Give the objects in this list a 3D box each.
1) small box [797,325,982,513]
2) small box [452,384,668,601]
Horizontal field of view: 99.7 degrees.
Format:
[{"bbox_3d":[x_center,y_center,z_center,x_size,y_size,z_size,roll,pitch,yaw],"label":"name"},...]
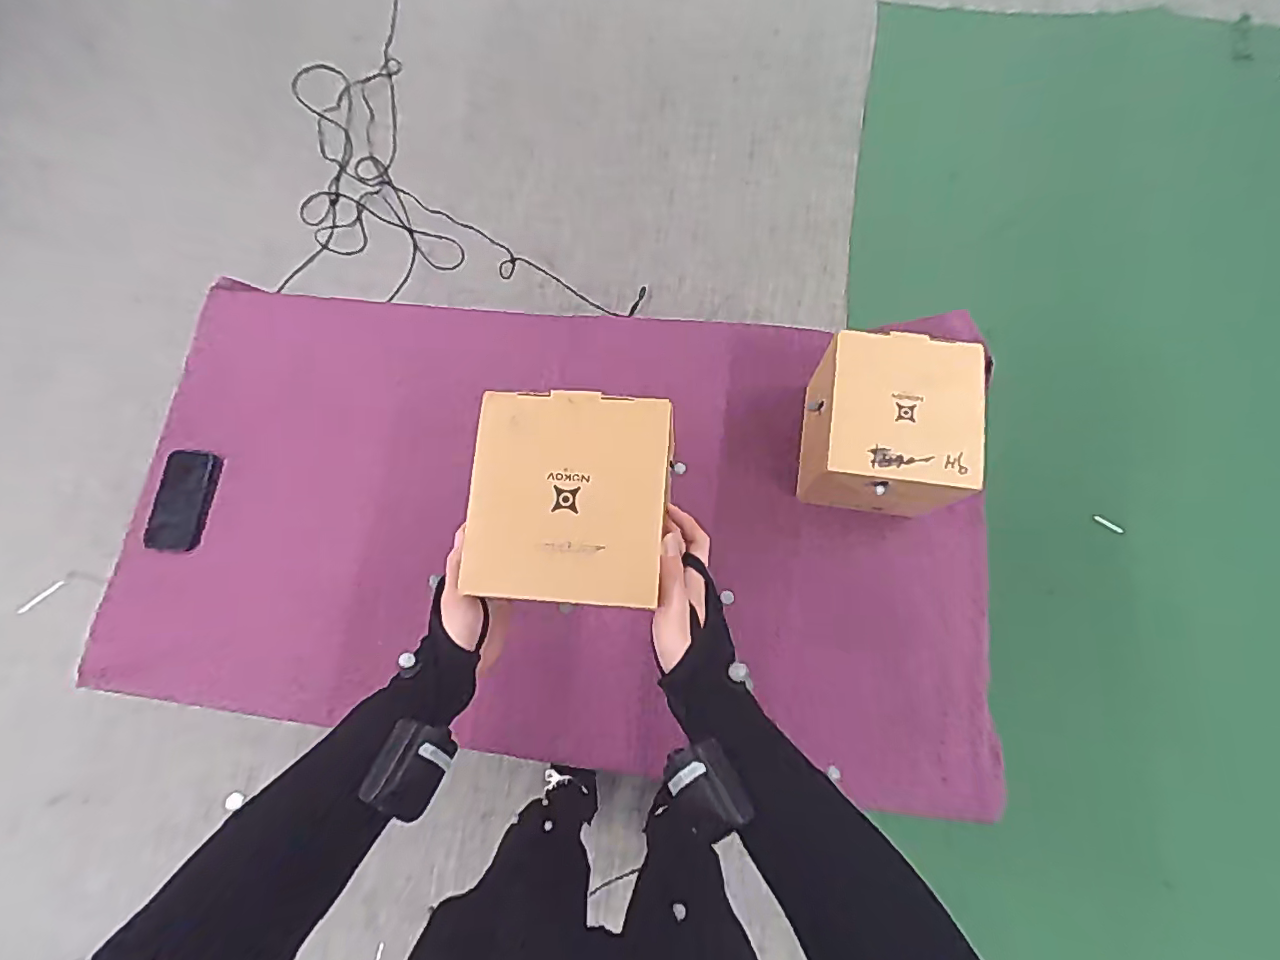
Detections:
[{"bbox_3d":[0.299,-0.068,0.678,0.168,0.176,0.179,7,76,7],"label":"small box"},{"bbox_3d":[-0.061,0.020,0.528,0.168,0.176,0.179,3,80,6],"label":"small box"}]
